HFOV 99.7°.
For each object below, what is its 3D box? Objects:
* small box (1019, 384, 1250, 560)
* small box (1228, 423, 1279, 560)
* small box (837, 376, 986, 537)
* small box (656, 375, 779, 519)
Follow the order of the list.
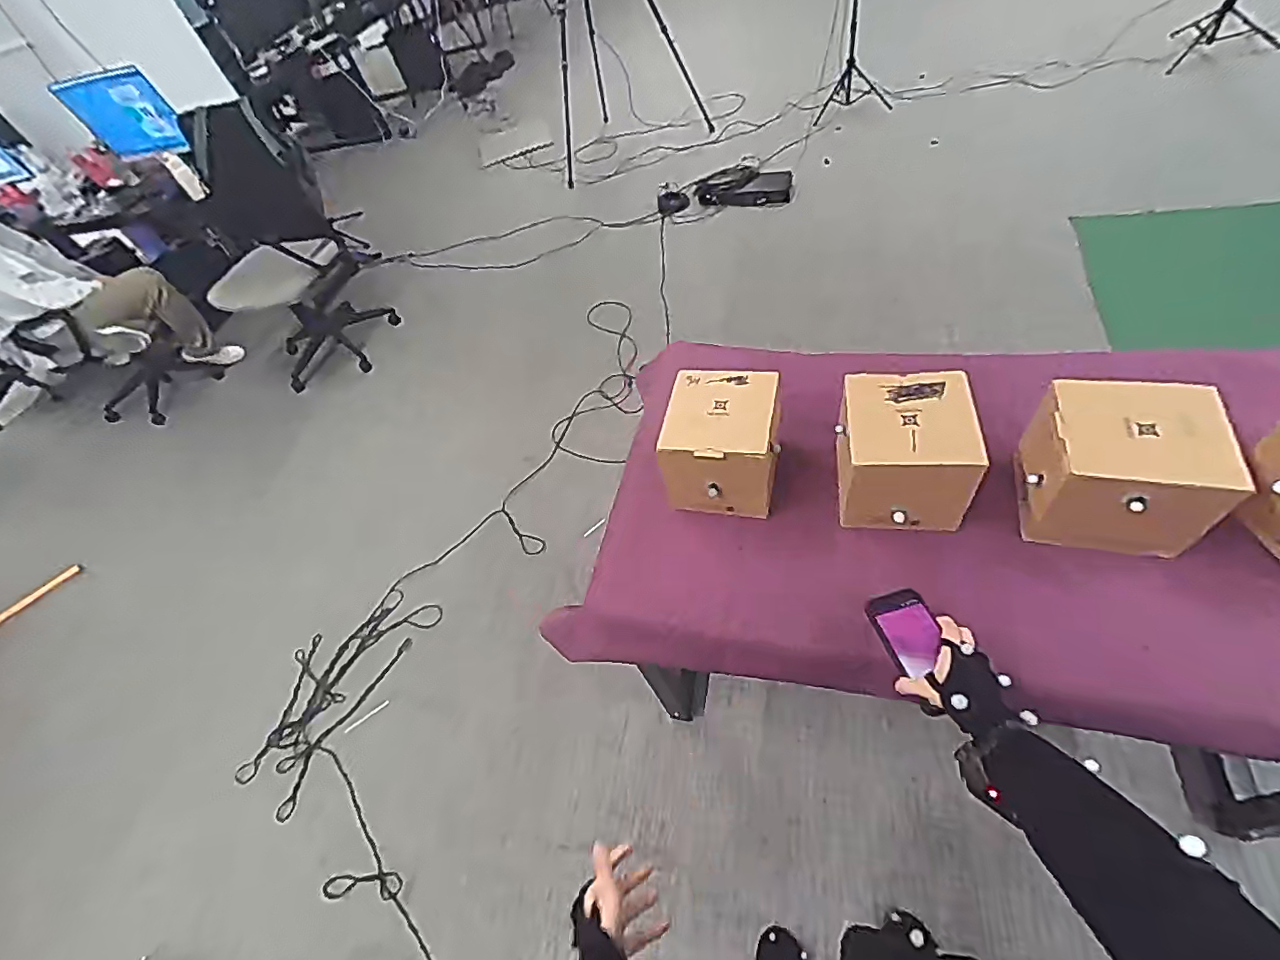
[{"bbox_3d":[0.636,-0.009,0.730,0.179,0.176,0.168,7,56,20],"label":"small box"},{"bbox_3d":[0.878,0.016,0.643,0.179,0.176,0.168,-13,50,5],"label":"small box"},{"bbox_3d":[0.392,-0.035,0.815,0.168,0.176,0.179,0,54,16],"label":"small box"},{"bbox_3d":[0.138,-0.053,0.899,0.168,0.176,0.179,5,55,19],"label":"small box"}]
